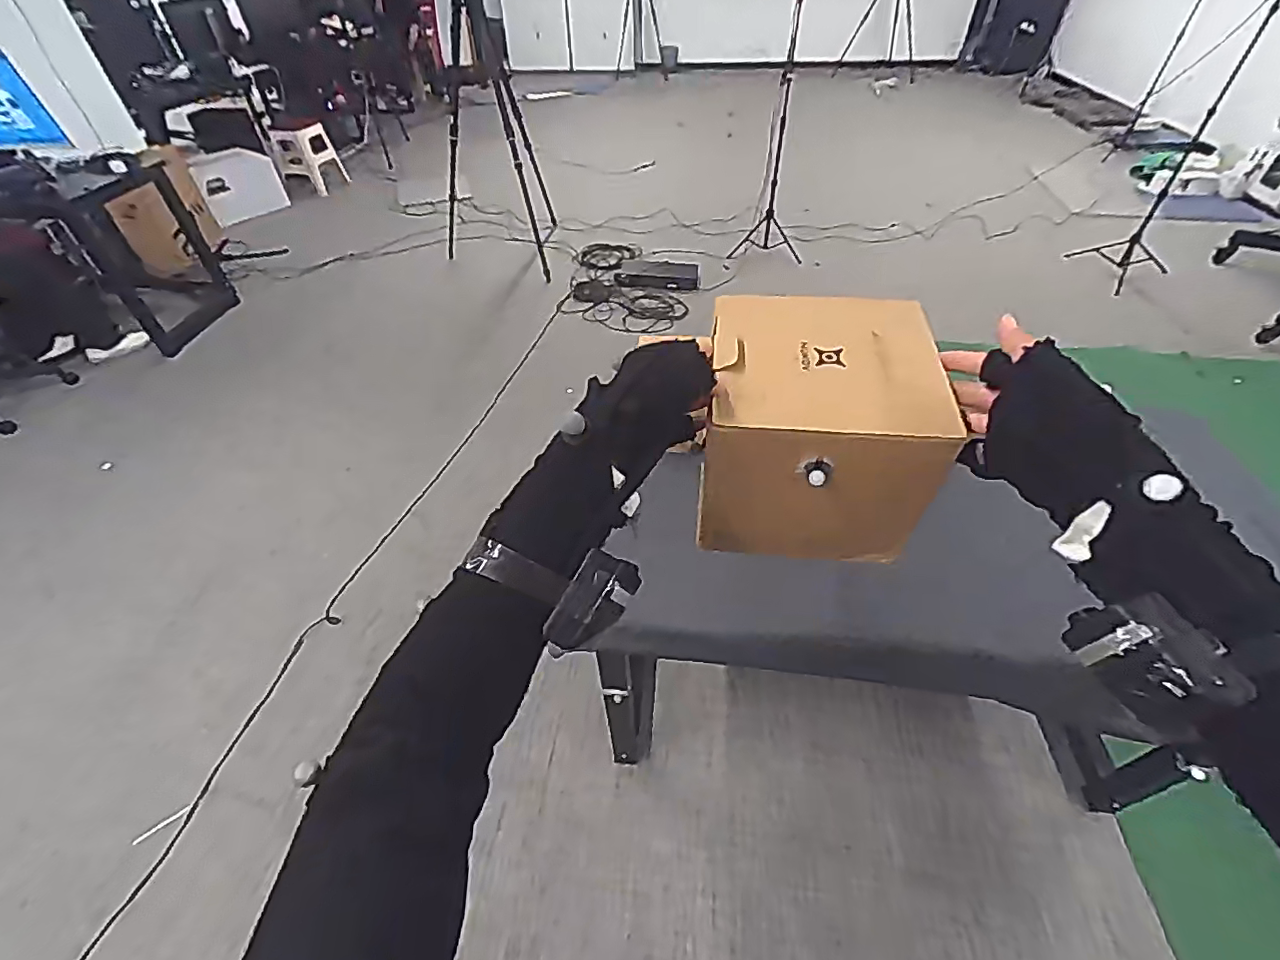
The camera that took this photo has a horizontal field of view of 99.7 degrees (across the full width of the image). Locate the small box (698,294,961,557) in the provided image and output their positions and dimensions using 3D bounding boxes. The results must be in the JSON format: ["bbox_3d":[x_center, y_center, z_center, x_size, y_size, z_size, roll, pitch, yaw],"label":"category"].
[{"bbox_3d":[0.146,-0.045,0.488,0.179,0.176,0.168,5,52,5],"label":"small box"}]

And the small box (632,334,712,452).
[{"bbox_3d":[0.080,-0.173,1.091,0.179,0.176,0.168,4,47,4],"label":"small box"}]
